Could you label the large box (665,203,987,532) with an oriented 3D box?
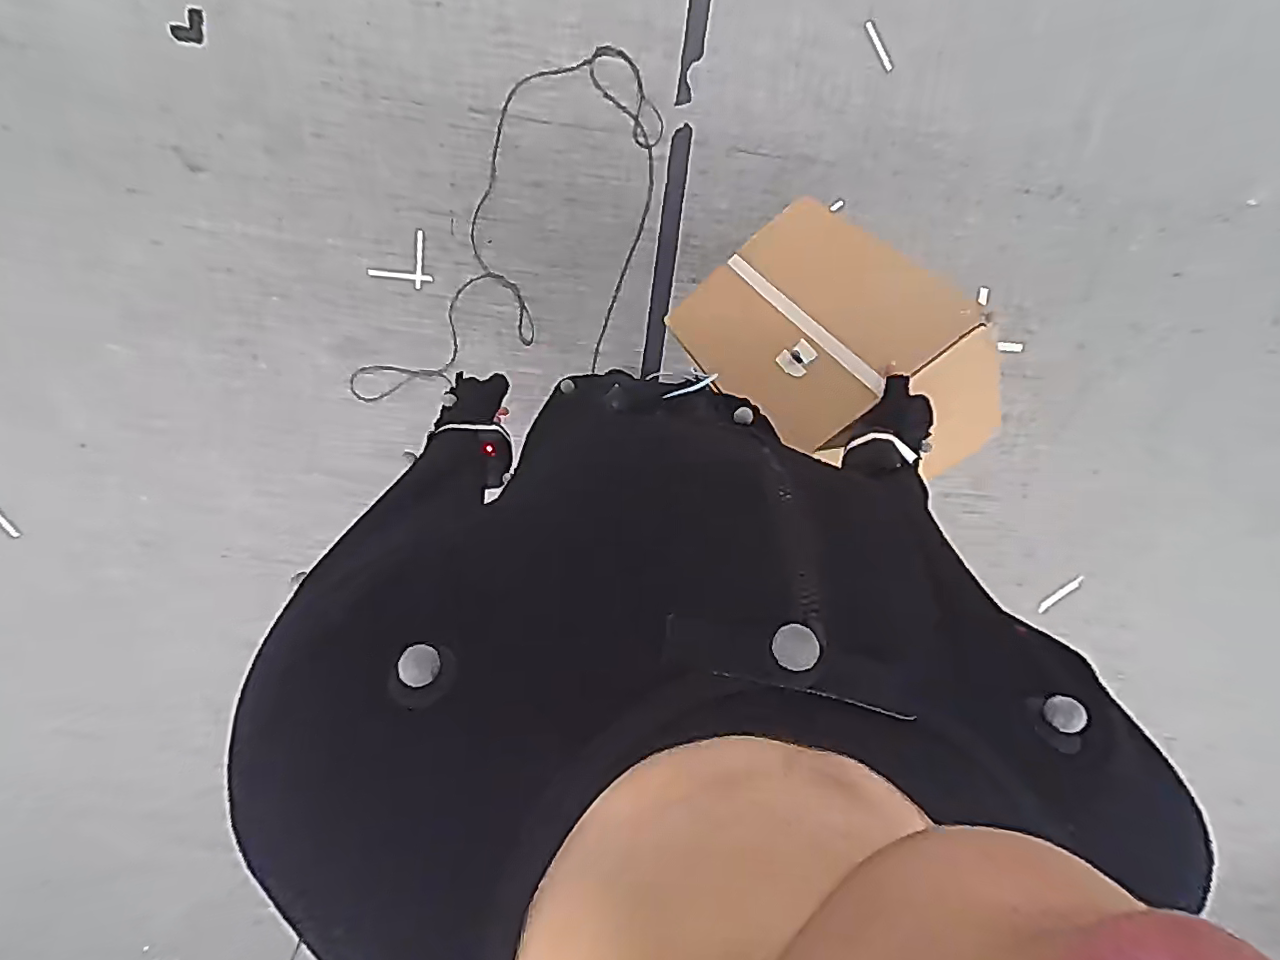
[{"bbox_3d":[0.311,-0.187,0.936,0.320,0.408,0.320,-39,142,12],"label":"large box"}]
